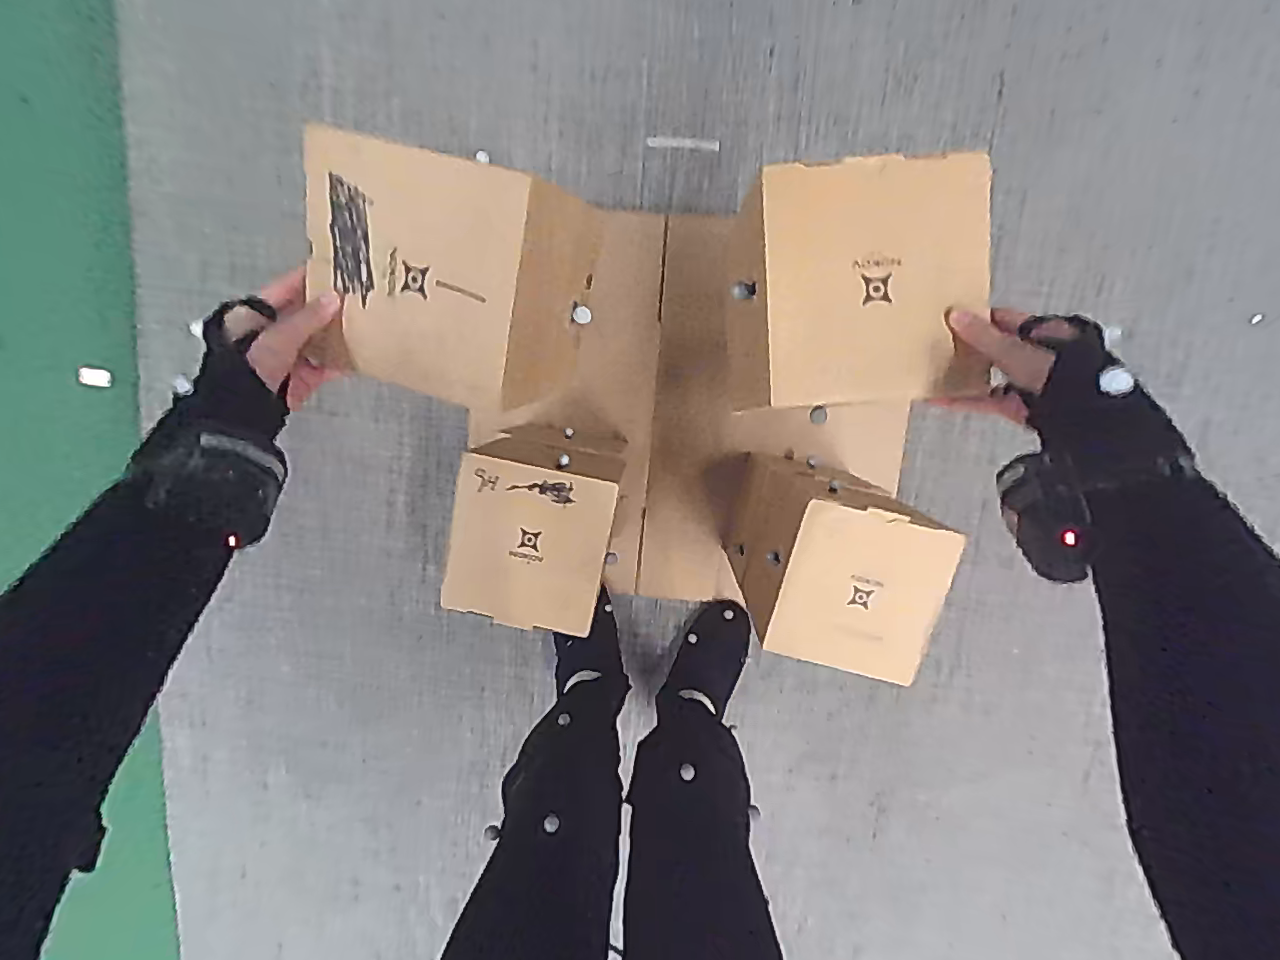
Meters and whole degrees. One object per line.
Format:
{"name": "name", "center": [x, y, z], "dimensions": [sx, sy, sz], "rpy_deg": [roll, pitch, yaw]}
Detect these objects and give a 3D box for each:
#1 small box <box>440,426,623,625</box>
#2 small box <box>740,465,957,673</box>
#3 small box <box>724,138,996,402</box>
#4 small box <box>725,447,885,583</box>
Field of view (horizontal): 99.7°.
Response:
{"name": "small box", "center": [-0.118, 0.043, 0.649], "dimensions": [0.168, 0.176, 0.179], "rpy_deg": [13, 101, -1]}
{"name": "small box", "center": [0.227, 0.091, 0.643], "dimensions": [0.168, 0.176, 0.179], "rpy_deg": [16, 101, 0]}
{"name": "small box", "center": [0.169, -0.158, 0.465], "dimensions": [0.168, 0.176, 0.179], "rpy_deg": [-3, 95, -1]}
{"name": "small box", "center": [0.229, 0.059, 0.803], "dimensions": [0.168, 0.176, 0.179], "rpy_deg": [12, 99, -1]}
